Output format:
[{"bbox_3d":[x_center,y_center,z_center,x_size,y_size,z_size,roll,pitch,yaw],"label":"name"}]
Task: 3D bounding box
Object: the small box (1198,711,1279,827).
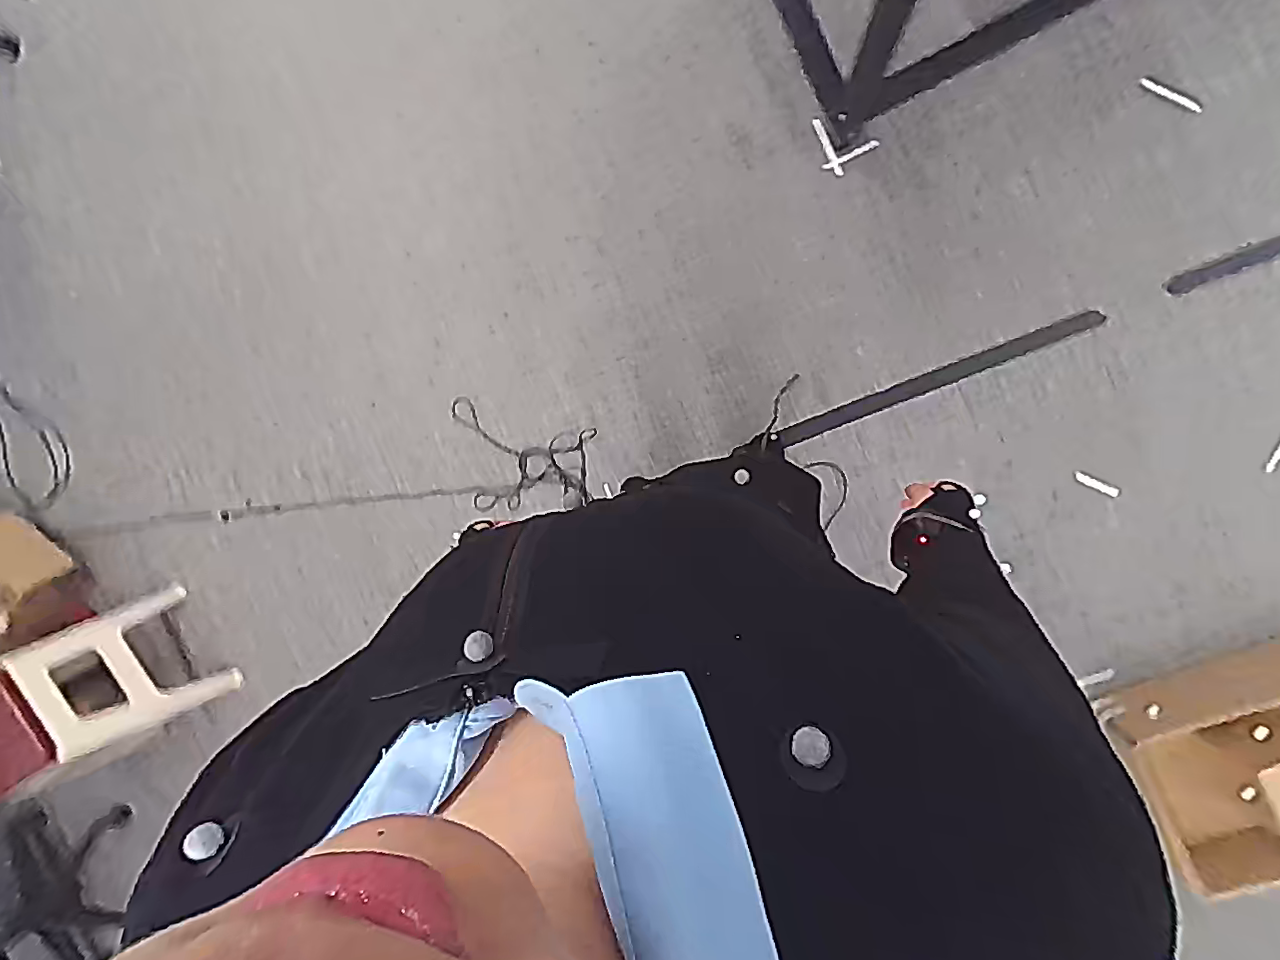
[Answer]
[{"bbox_3d":[1.432,0.647,1.214,0.168,0.176,0.179,-25,90,10],"label":"small box"}]
